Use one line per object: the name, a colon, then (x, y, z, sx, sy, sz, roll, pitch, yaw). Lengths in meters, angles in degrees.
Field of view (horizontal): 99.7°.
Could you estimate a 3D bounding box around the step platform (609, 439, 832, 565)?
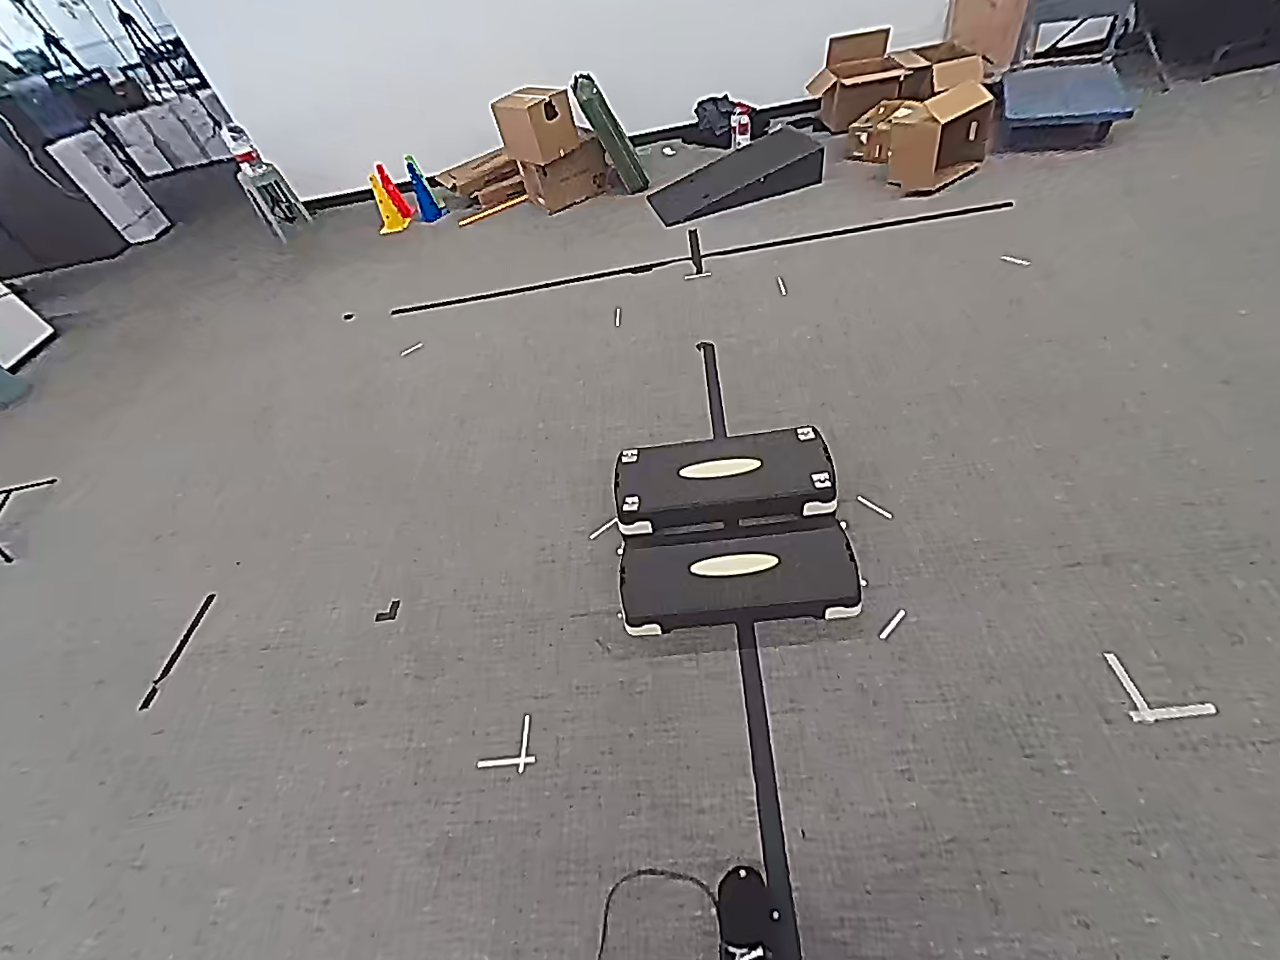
step platform: (0.243, 0.067, 1.715, 0.684, 0.204, 0.286, -8, 48, 6)
